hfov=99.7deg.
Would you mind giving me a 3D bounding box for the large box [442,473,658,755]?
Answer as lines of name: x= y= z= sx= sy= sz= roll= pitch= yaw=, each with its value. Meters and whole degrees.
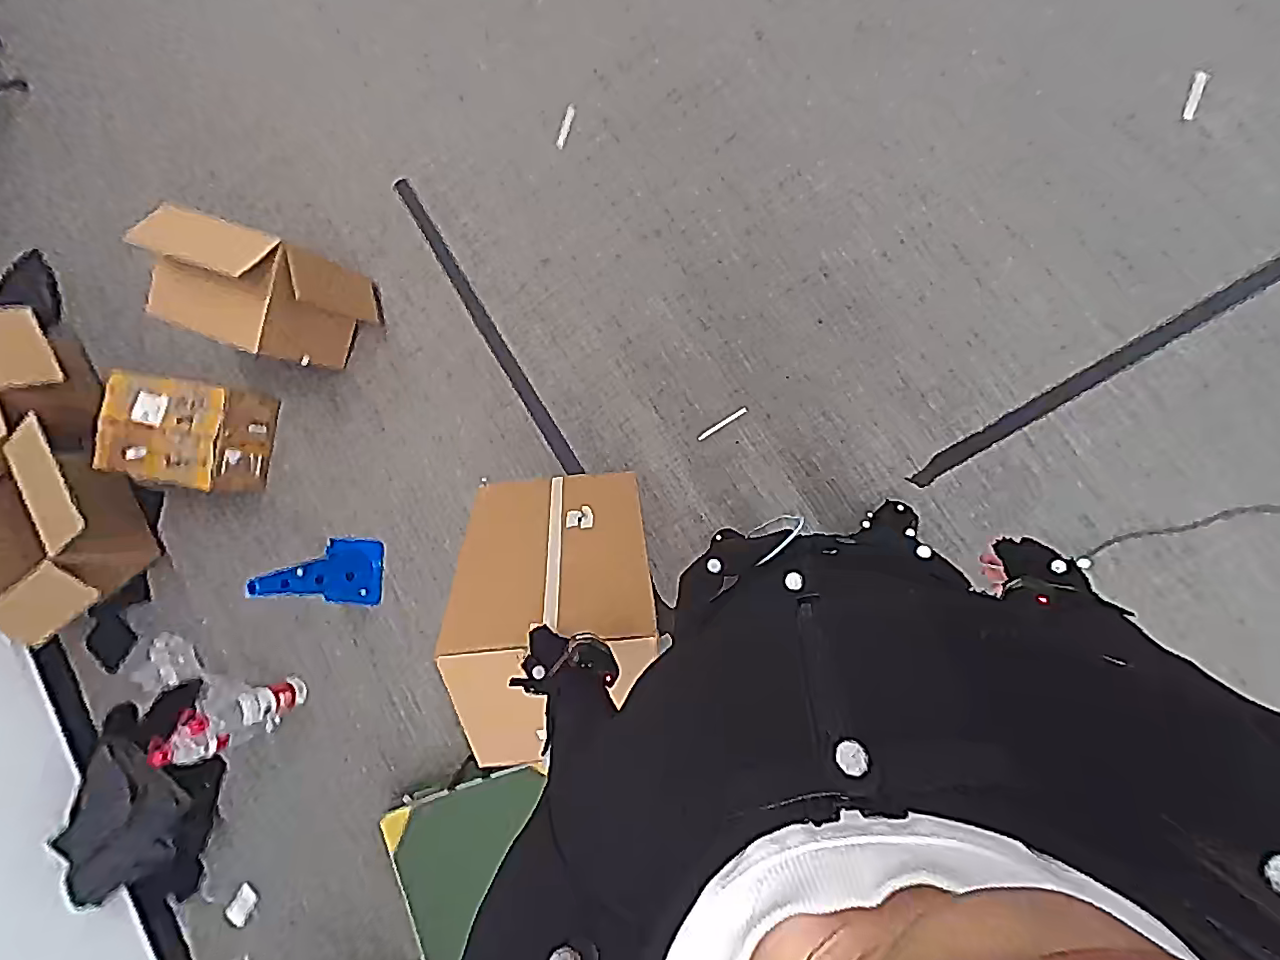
large box: x=-0.141 y=0.233 z=1.012 sx=0.320 sy=0.408 sz=0.320 roll=-3 pitch=126 yaw=-2
